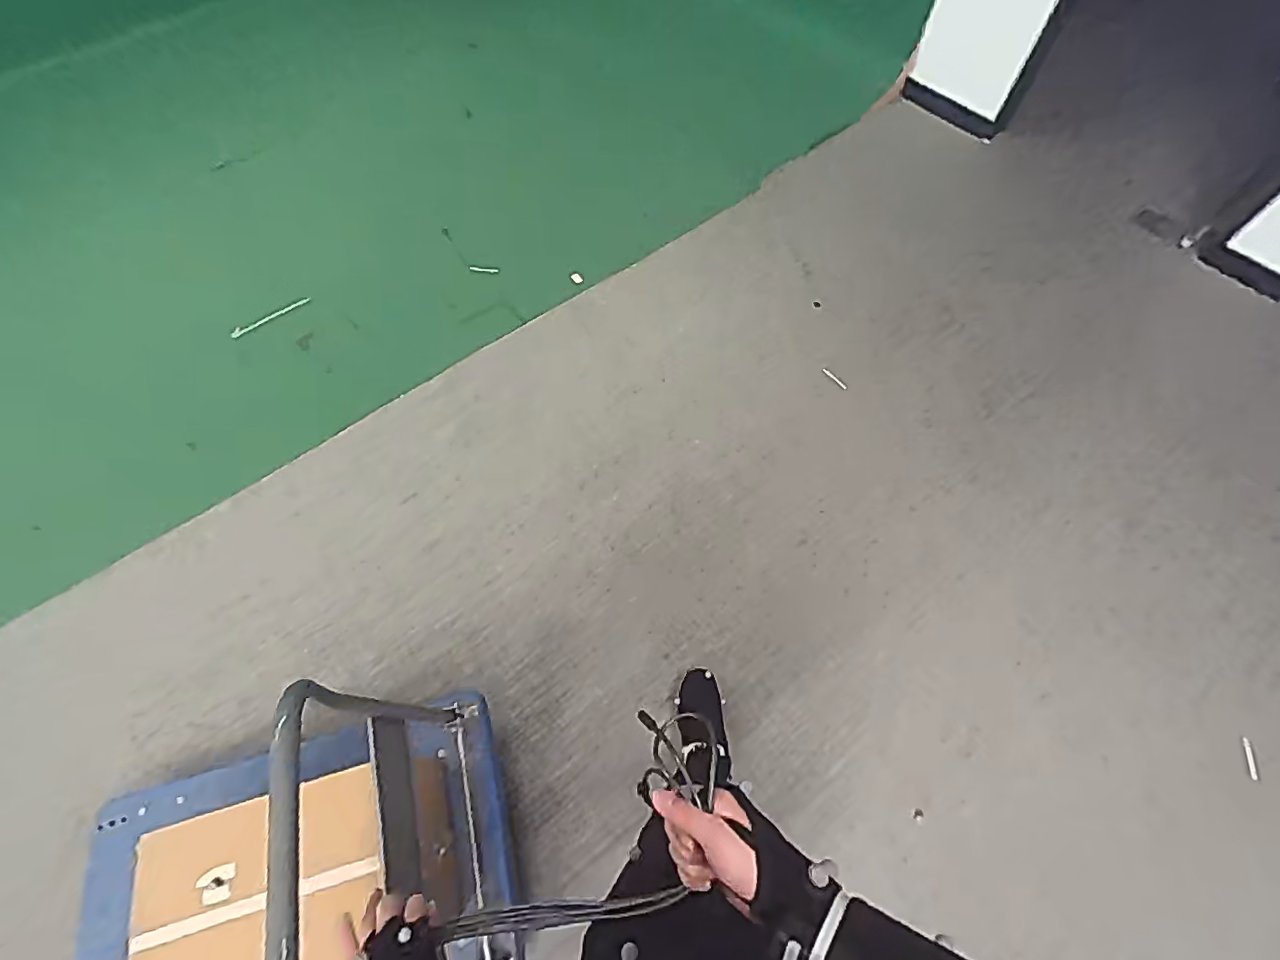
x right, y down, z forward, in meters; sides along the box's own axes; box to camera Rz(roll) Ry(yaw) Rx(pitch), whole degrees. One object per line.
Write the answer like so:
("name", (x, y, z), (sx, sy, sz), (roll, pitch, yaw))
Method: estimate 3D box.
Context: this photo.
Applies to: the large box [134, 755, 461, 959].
("large box", (-0.597, 0.742, 1.004), (0.408, 0.320, 0.320), (-16, 64, -4))
